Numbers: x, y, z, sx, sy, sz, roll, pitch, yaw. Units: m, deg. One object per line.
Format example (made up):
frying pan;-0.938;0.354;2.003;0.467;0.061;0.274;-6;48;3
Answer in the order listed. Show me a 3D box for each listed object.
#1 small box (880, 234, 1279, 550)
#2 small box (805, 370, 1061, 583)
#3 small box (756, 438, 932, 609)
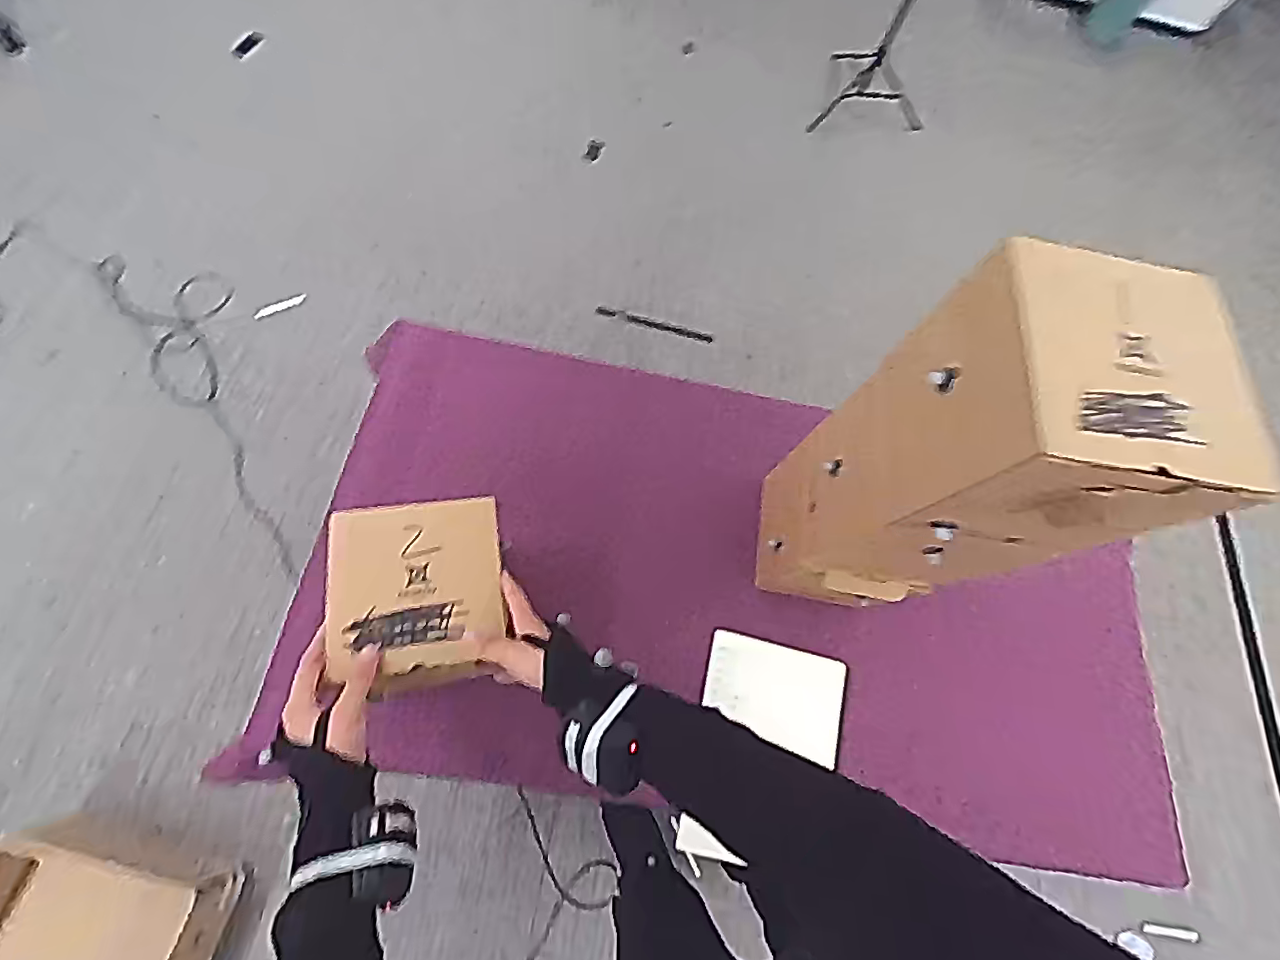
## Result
small box;0.311;-0.052;0.426;0.168;0.176;0.179;9;68;-5
small box;0.291;0.008;0.578;0.179;0.176;0.168;10;69;-5
small box;0.265;0.069;0.730;0.168;0.176;0.179;11;69;-4
